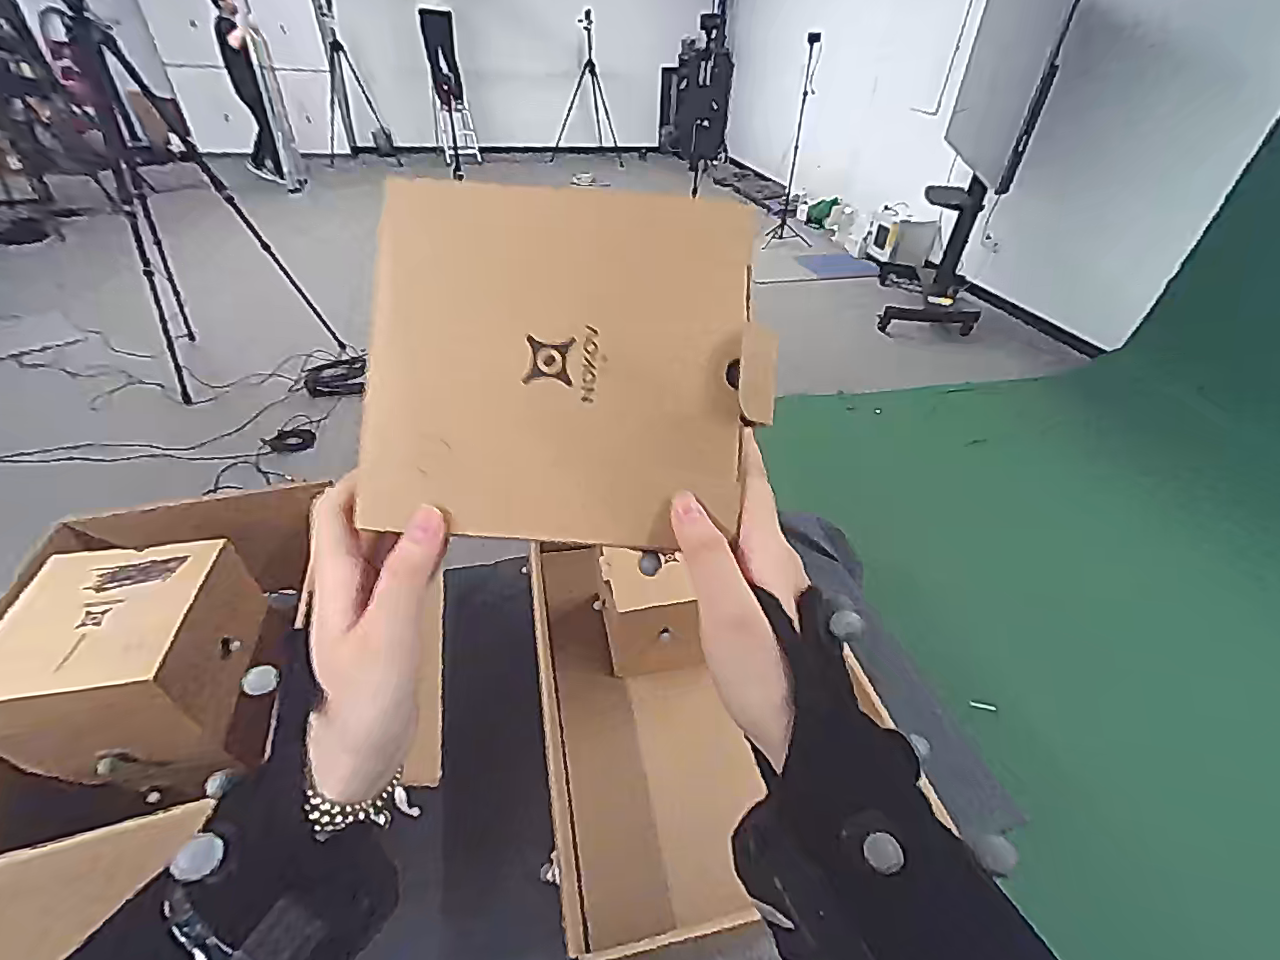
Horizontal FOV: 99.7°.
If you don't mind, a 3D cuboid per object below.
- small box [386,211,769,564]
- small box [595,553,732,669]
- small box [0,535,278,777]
[{"bbox_3d":[-0.029,-0.041,0.340,0.179,0.168,0.176,4,-4,-1],"label":"small box"},{"bbox_3d":[0.027,0.173,0.843,0.179,0.176,0.168,-7,44,-10],"label":"small box"},{"bbox_3d":[-0.522,0.184,0.578,0.168,0.176,0.179,-5,43,-11],"label":"small box"}]
